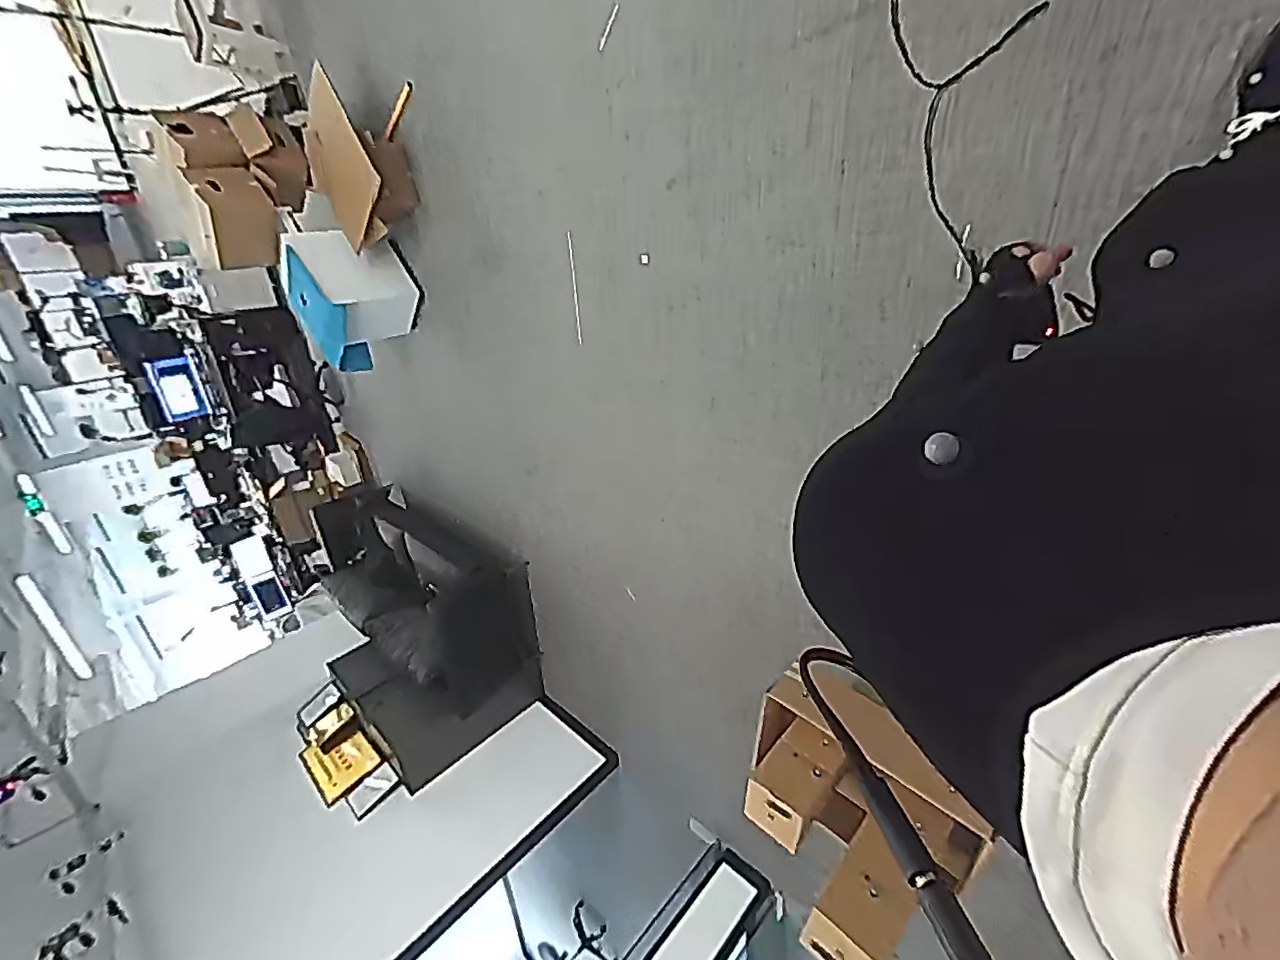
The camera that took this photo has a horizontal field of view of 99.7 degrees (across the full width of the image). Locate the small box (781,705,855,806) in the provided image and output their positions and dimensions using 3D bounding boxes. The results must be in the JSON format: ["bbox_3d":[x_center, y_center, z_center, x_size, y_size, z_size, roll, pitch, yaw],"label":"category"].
[{"bbox_3d":[0.530,0.826,1.638,0.168,0.176,0.179,25,127,36],"label":"small box"}]

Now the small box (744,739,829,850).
[{"bbox_3d":[0.417,0.883,1.533,0.168,0.176,0.179,25,128,37],"label":"small box"}]

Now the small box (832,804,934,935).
[{"bbox_3d":[0.616,0.973,1.365,0.168,0.176,0.179,27,128,37],"label":"small box"}]
